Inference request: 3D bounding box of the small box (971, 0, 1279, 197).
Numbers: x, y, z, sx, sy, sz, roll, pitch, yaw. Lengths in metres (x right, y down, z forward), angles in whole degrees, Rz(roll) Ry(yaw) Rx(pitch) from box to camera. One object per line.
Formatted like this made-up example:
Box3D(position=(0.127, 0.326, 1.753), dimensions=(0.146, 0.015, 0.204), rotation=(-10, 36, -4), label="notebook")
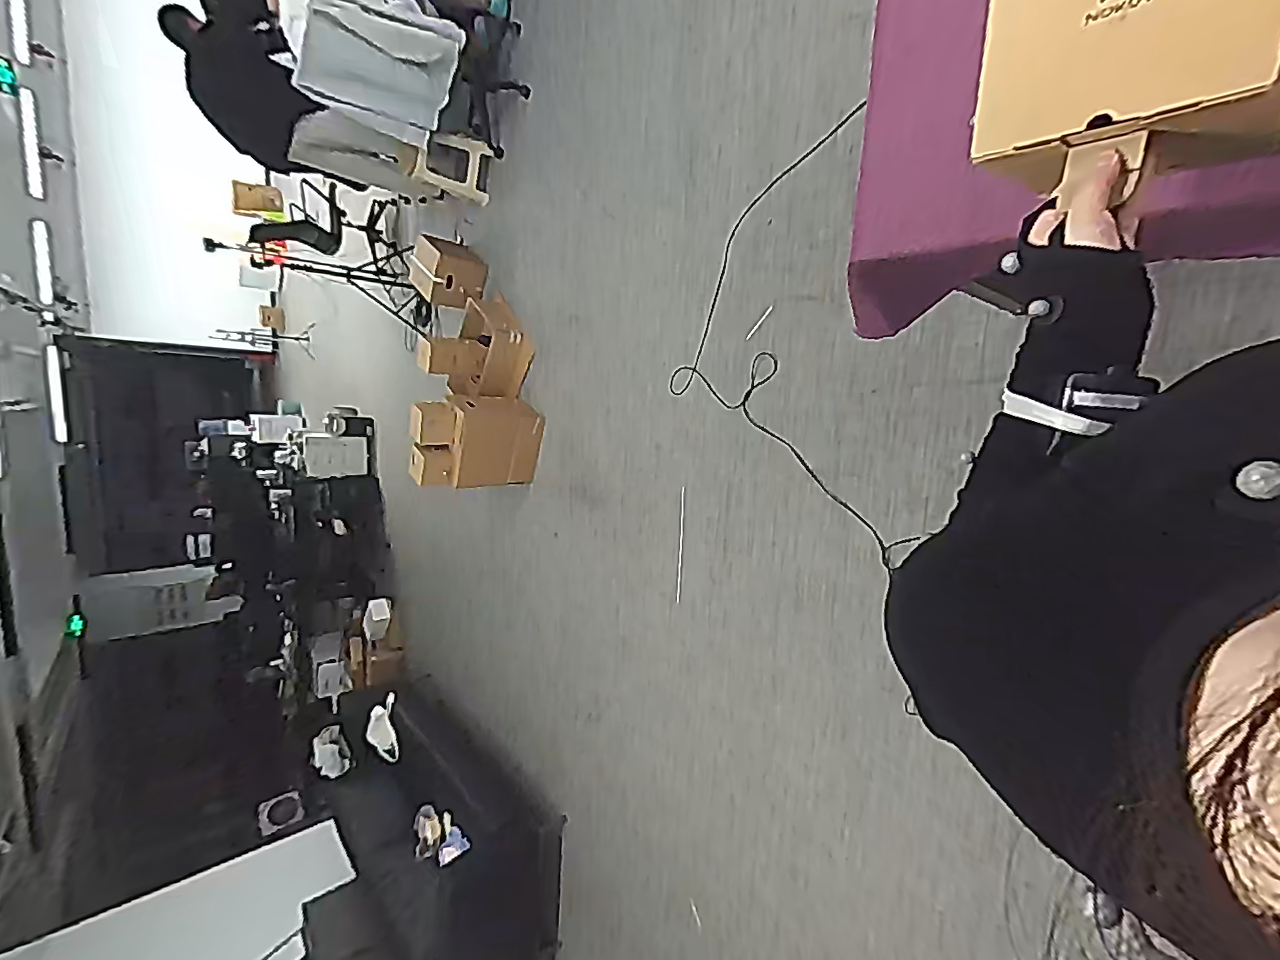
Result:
Box3D(position=(0.392, -0.344, 0.422), dimensions=(0.168, 0.176, 0.179), rotation=(16, 112, 50), label="small box")
